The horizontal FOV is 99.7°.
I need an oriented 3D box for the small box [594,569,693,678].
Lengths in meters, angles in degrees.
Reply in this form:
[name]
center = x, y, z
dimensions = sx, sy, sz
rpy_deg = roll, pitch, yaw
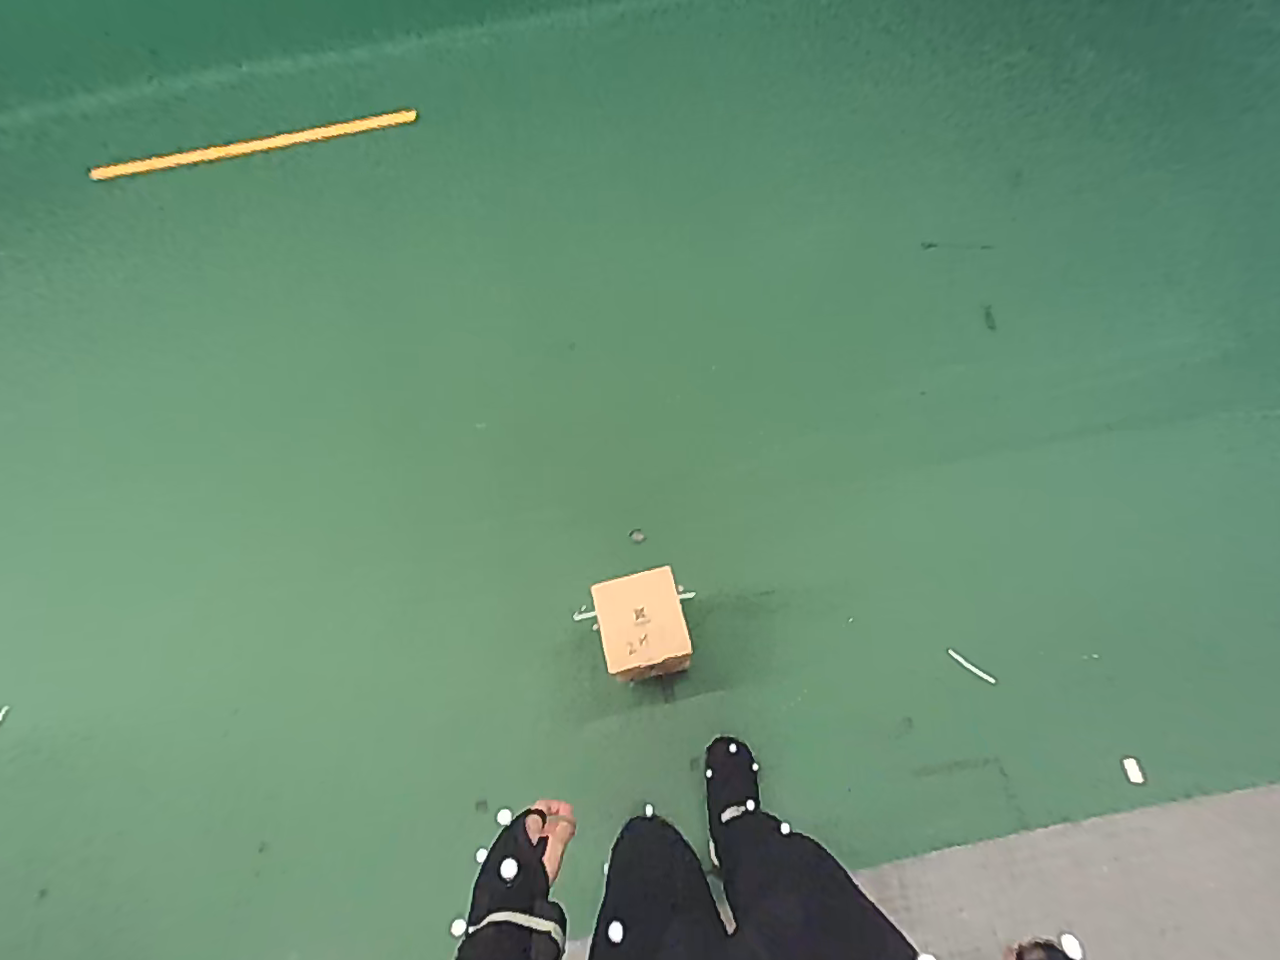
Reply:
[small box]
center = 0.008, 0.303, 1.125
dimensions = 0.168, 0.176, 0.179
rpy_deg = -13, 68, -2
